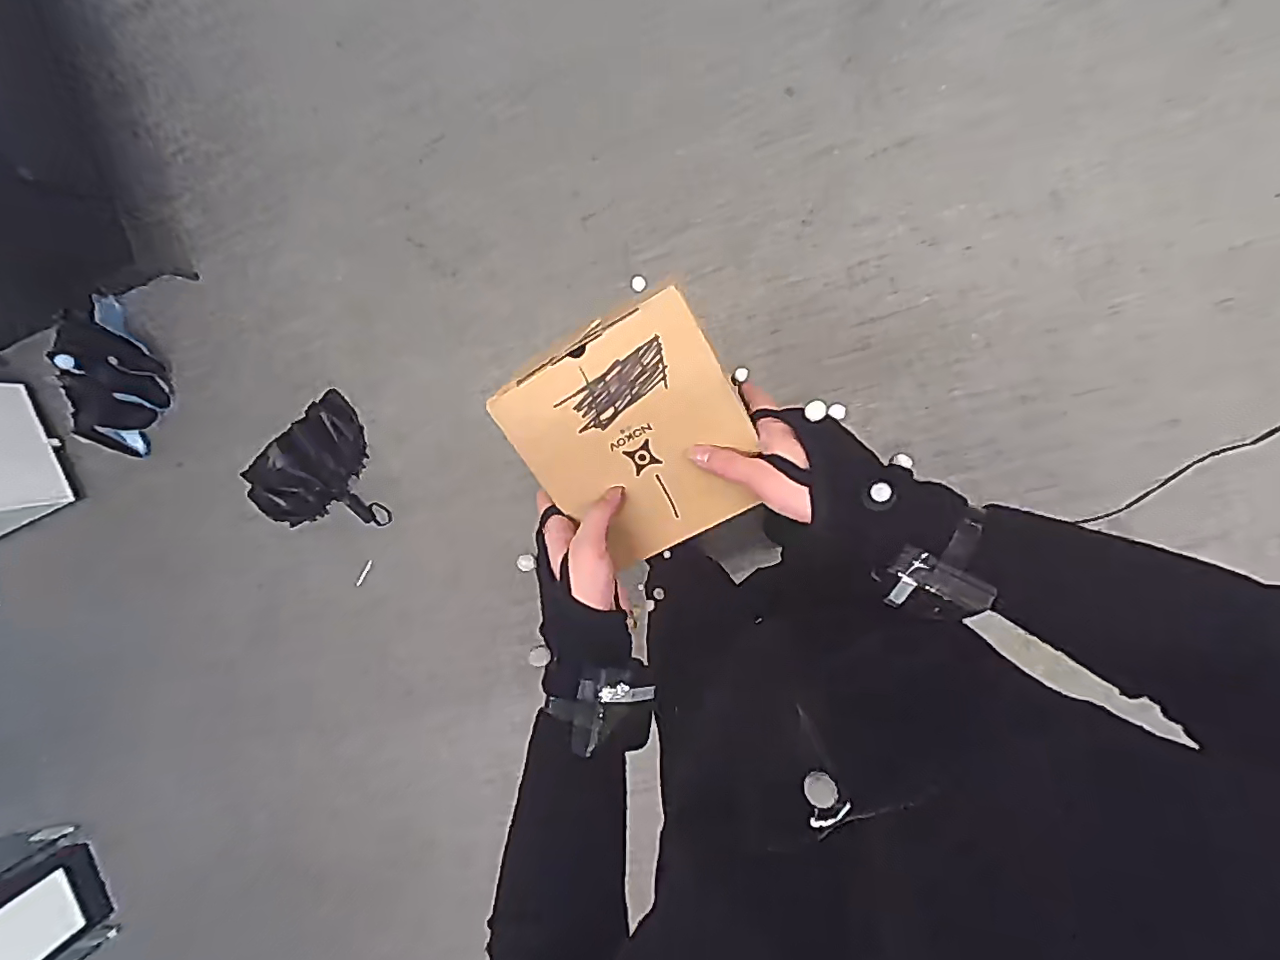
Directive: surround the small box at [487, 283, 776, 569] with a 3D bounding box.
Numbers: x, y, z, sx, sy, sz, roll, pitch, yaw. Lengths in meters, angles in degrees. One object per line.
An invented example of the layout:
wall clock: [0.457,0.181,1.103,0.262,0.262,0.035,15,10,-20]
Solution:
small box: [-0.001,-0.058,0.488,0.168,0.176,0.179,-28,108,15]
